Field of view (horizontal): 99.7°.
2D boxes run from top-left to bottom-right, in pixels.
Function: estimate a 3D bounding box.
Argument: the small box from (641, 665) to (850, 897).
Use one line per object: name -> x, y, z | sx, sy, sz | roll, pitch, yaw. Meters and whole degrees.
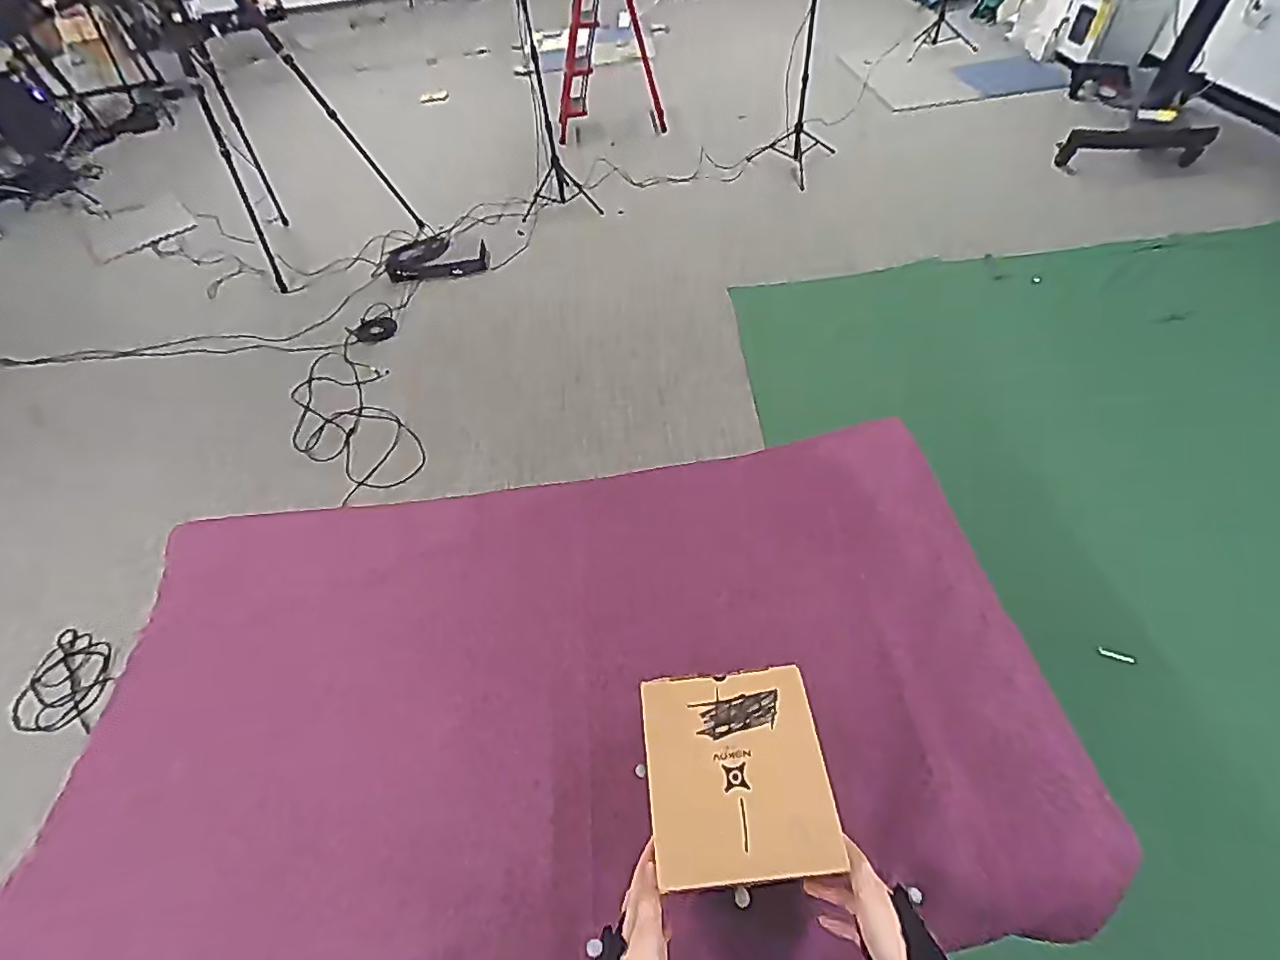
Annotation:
small box -> 0.092, 0.313, 0.557 | 0.168, 0.176, 0.179 | -7, 52, 2
